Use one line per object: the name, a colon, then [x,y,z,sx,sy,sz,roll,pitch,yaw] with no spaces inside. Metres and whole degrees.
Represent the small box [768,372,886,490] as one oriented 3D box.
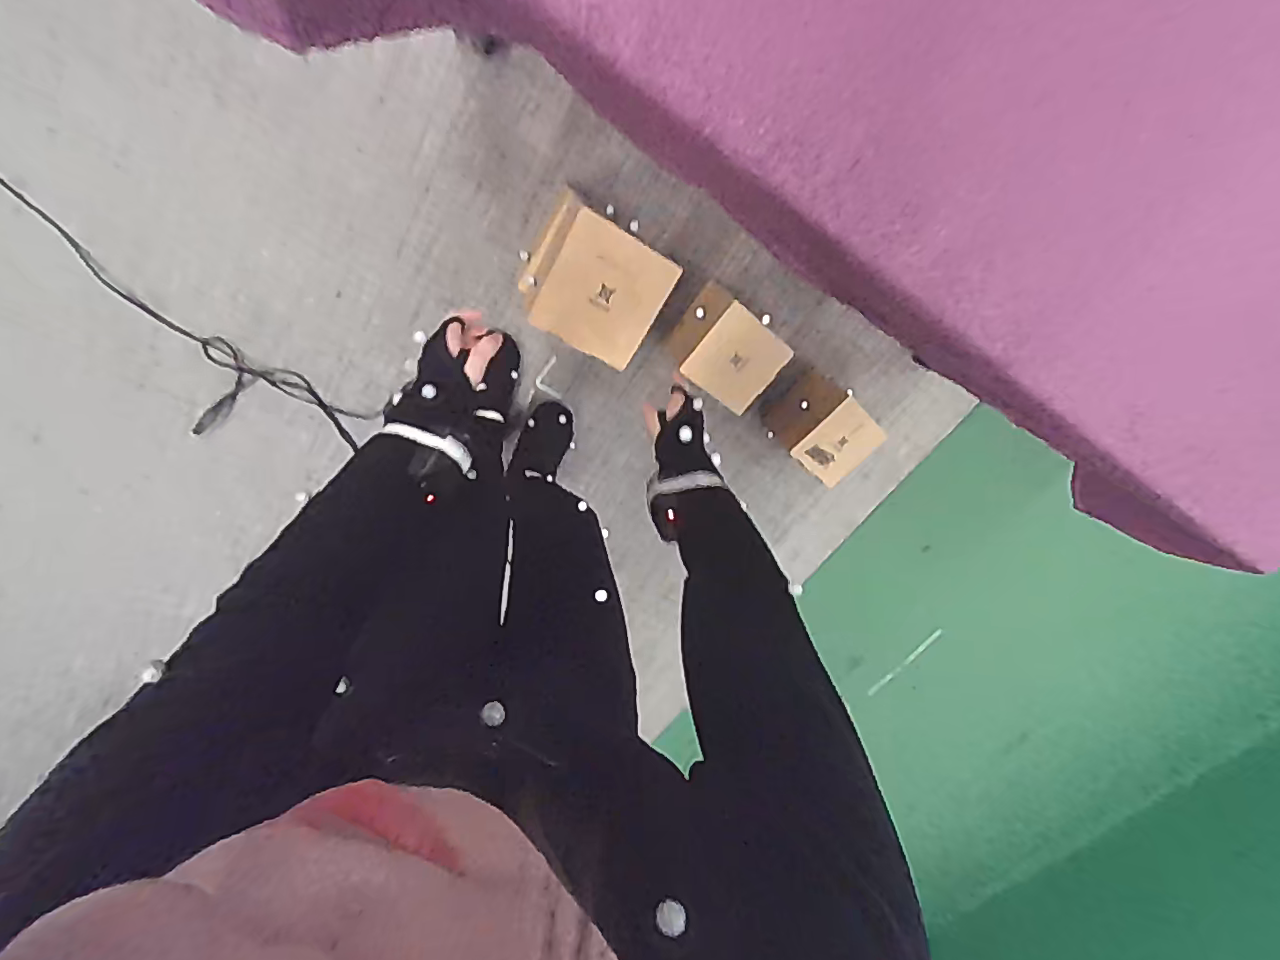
small box: [0.422,-0.117,1.257,0.168,0.176,0.179,35,108,-29]
